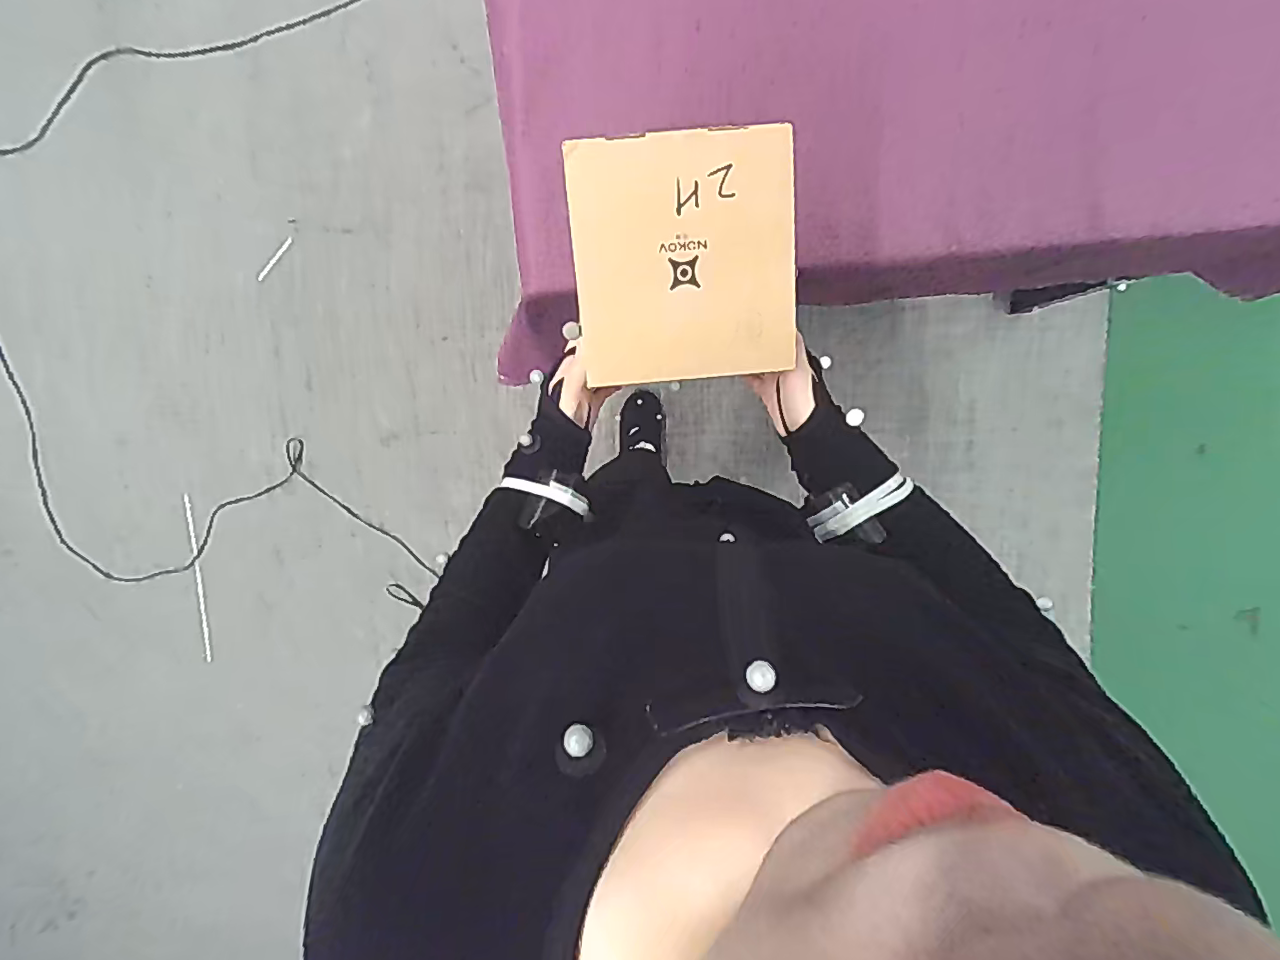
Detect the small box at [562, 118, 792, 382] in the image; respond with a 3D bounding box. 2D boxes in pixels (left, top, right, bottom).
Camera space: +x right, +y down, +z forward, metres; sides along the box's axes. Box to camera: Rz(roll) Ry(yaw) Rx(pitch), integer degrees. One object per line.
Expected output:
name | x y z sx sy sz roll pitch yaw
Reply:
small box | 0.030 -0.185 0.478 0.168 0.176 0.179 -5 103 -1
